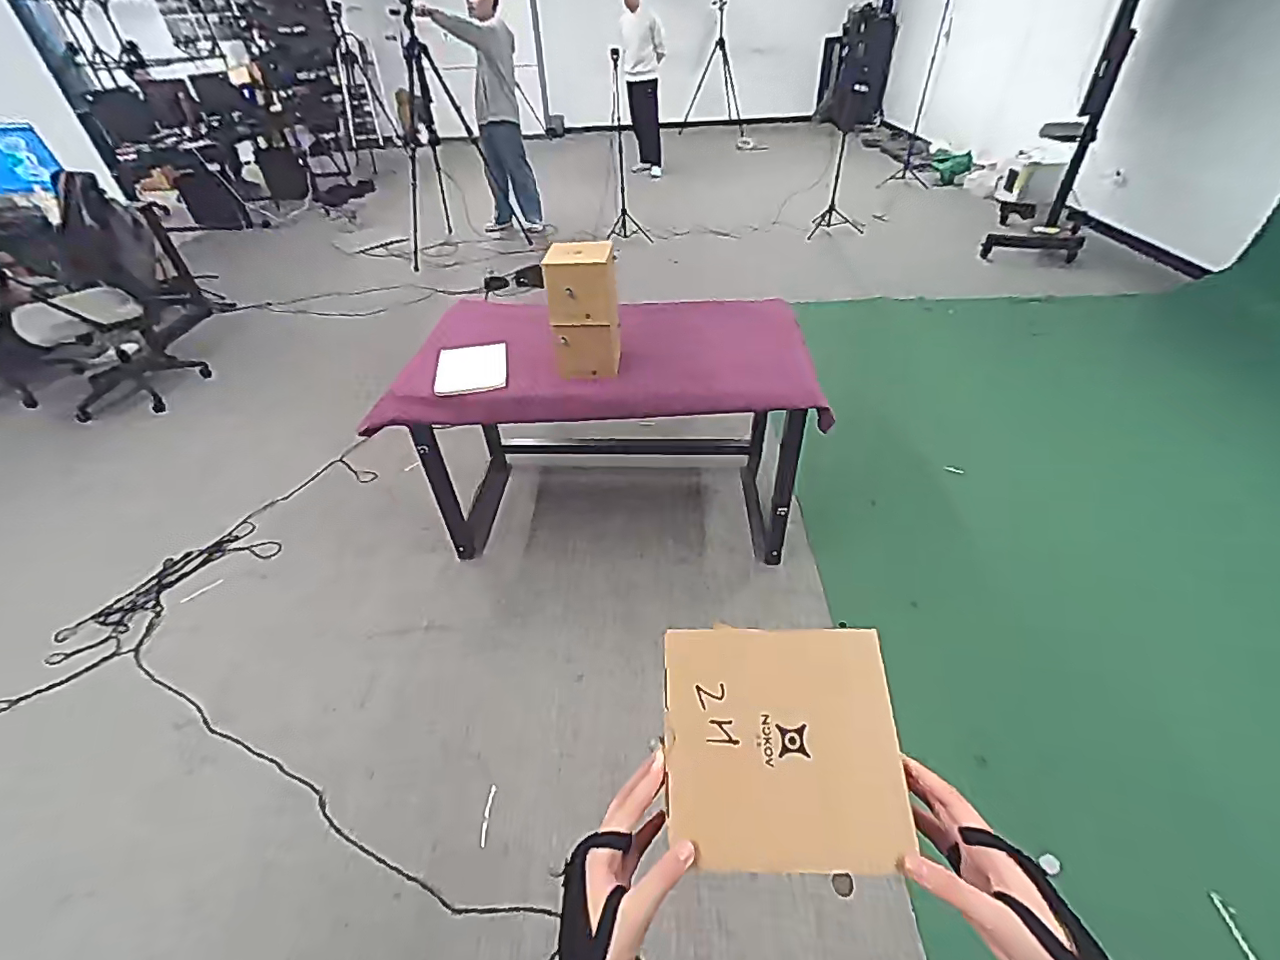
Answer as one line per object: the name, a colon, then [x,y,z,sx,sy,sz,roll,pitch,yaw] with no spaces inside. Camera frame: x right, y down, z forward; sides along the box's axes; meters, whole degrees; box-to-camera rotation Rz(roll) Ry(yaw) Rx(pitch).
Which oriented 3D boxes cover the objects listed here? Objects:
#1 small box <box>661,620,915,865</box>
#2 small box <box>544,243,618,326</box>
small box: [0.107,0.227,0.479,0.179,0.176,0.168,-1,61,3]
small box: [-0.150,-0.523,1.455,0.168,0.176,0.179,0,39,4]
